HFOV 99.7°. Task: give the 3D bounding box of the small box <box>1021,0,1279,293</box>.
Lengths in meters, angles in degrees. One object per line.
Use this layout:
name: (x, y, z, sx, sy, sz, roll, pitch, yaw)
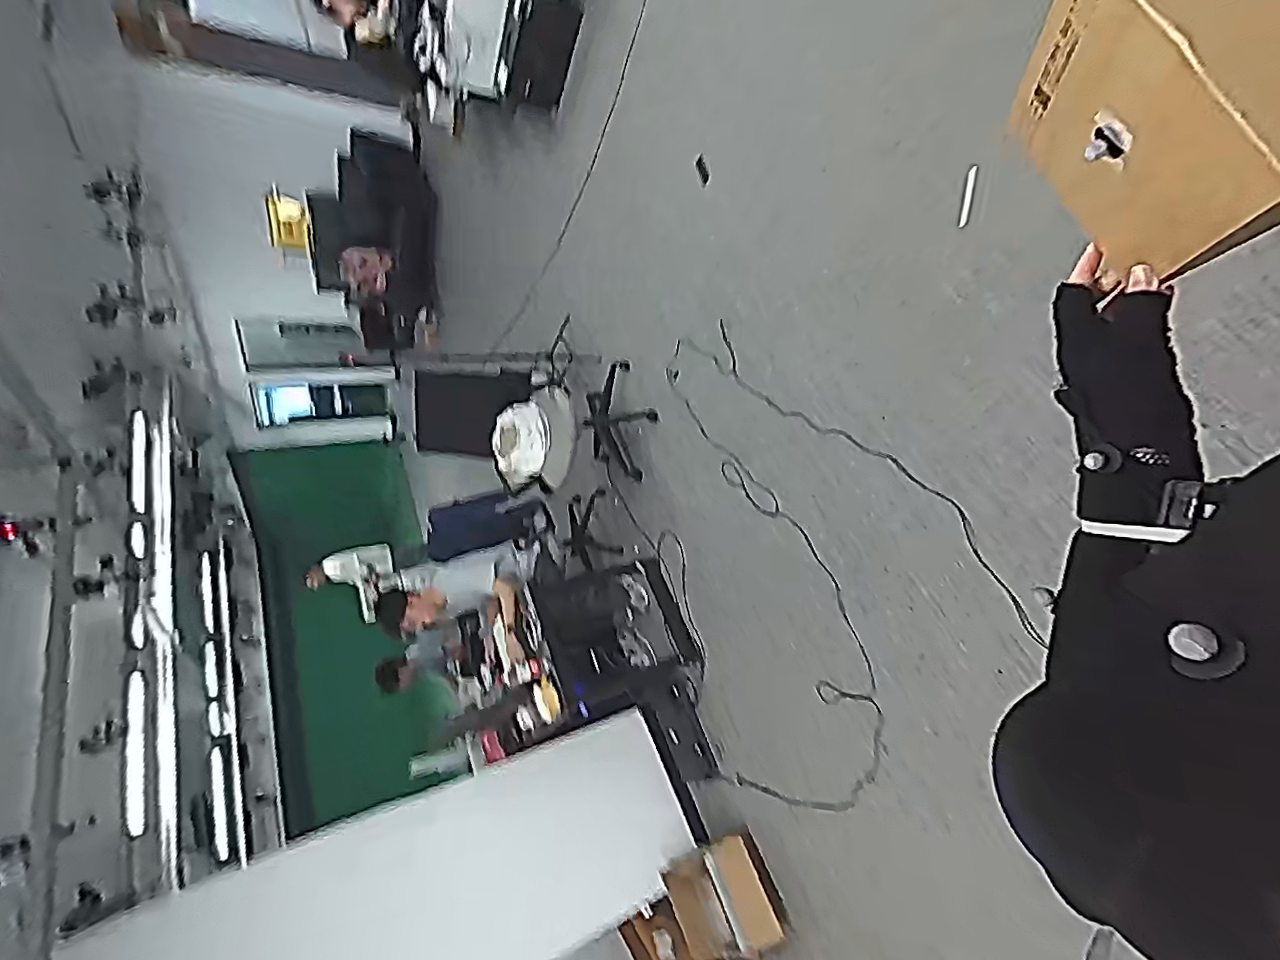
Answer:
small box: (0.359, -0.244, 0.300, 0.179, 0.168, 0.176, -30, 81, 21)
